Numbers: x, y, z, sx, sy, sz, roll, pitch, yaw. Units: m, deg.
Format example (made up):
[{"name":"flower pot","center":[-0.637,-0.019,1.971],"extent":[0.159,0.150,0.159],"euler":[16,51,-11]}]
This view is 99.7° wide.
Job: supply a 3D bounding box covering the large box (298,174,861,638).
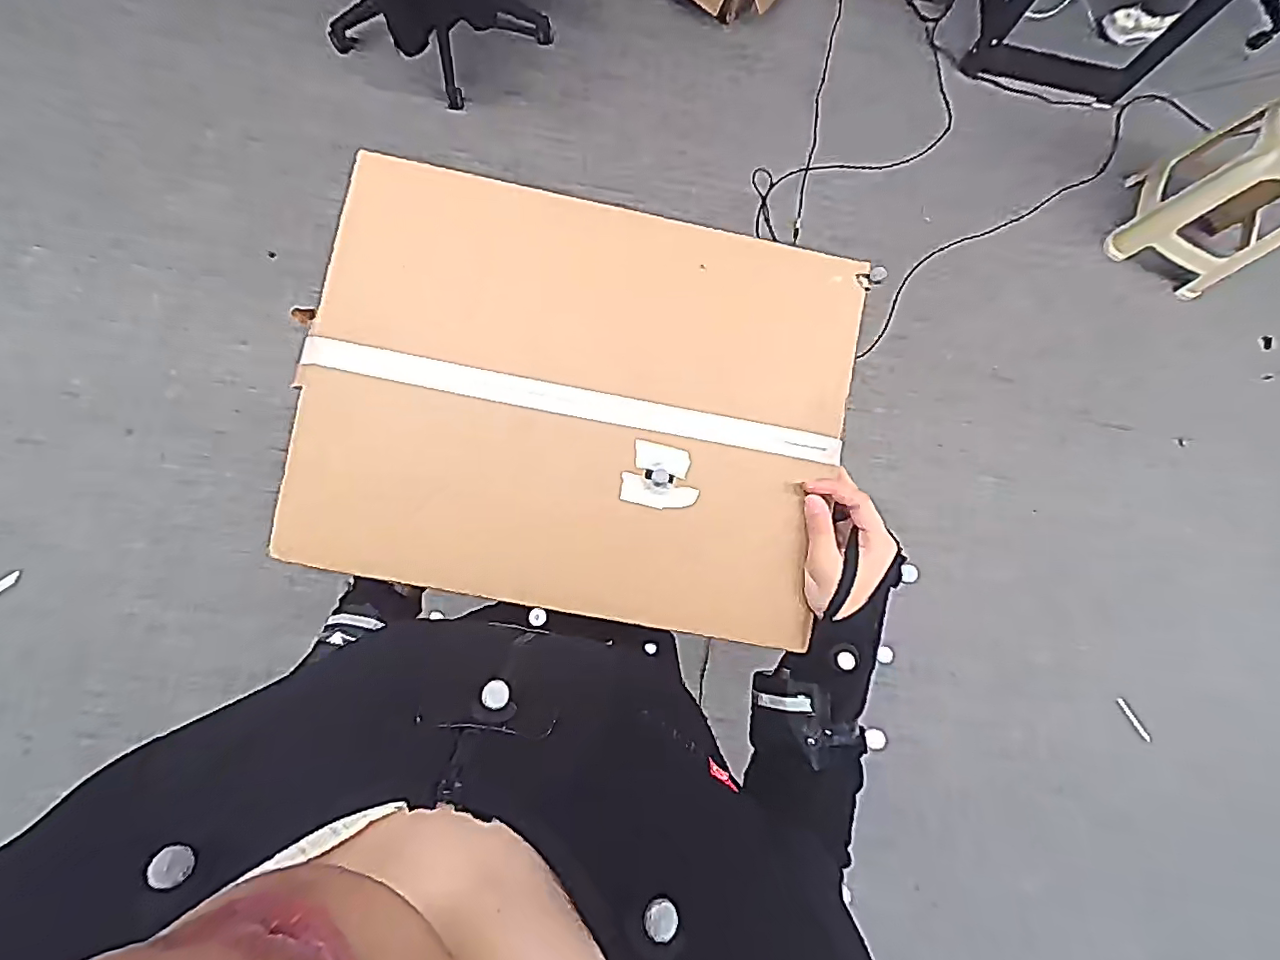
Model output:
[{"name":"large box","center":[-0.049,-0.048,0.569],"extent":[0.408,0.320,0.320],"euler":[10,87,-5]}]
